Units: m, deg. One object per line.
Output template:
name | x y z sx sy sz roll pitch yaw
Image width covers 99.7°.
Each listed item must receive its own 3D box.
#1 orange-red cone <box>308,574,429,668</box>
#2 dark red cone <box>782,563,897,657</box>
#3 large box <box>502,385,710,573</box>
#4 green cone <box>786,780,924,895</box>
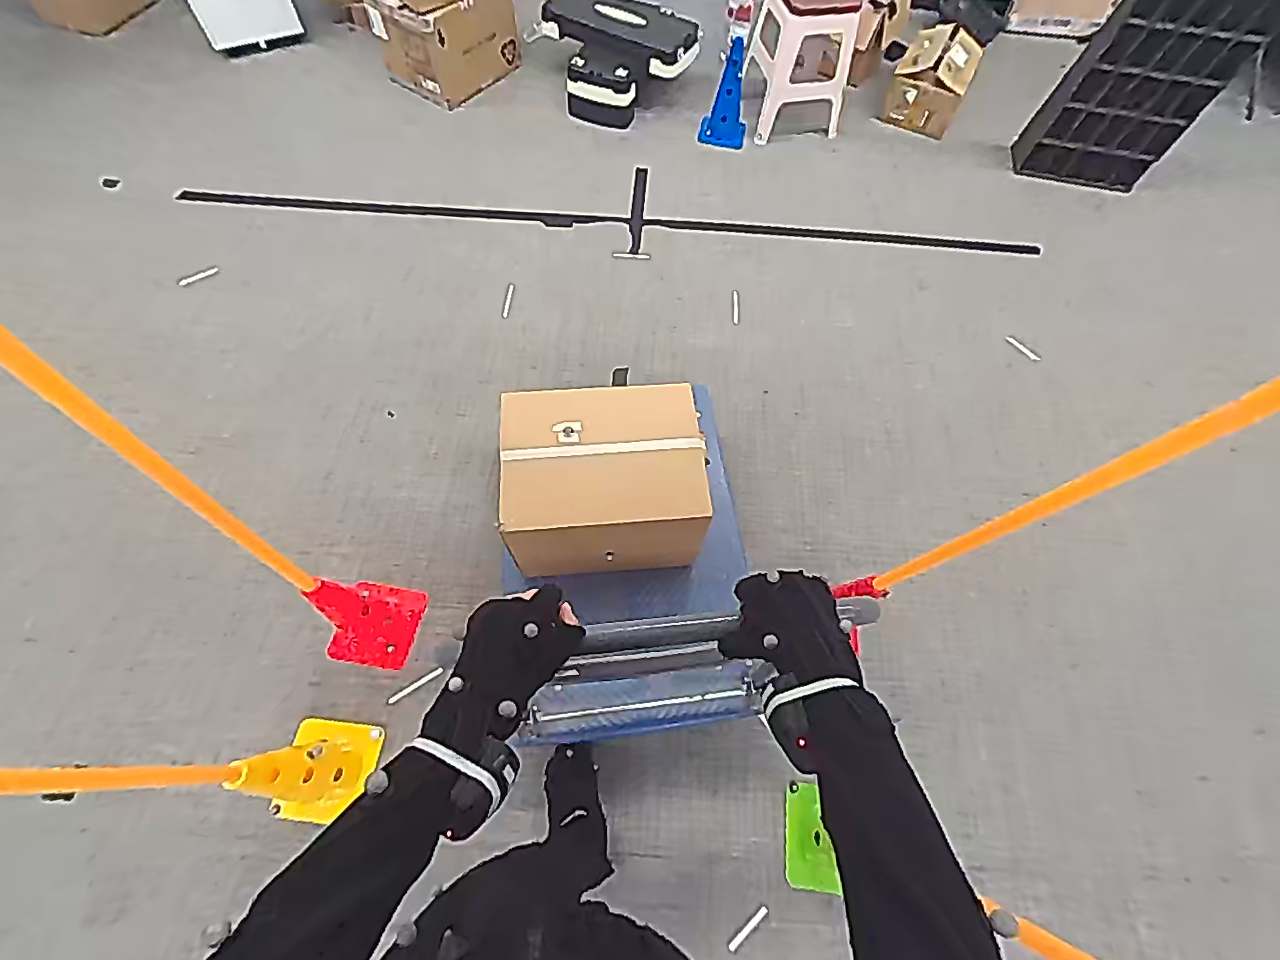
orange-red cone | -0.650 0.284 1.226 0.198 0.360 0.199 11 61 2
dark red cone | 0.483 0.277 1.256 0.201 0.394 0.202 5 63 -2
large box | -0.079 0.011 1.226 0.408 0.320 0.320 -4 64 -4
green cone | 0.433 0.713 1.049 0.202 0.368 0.200 8 63 0
